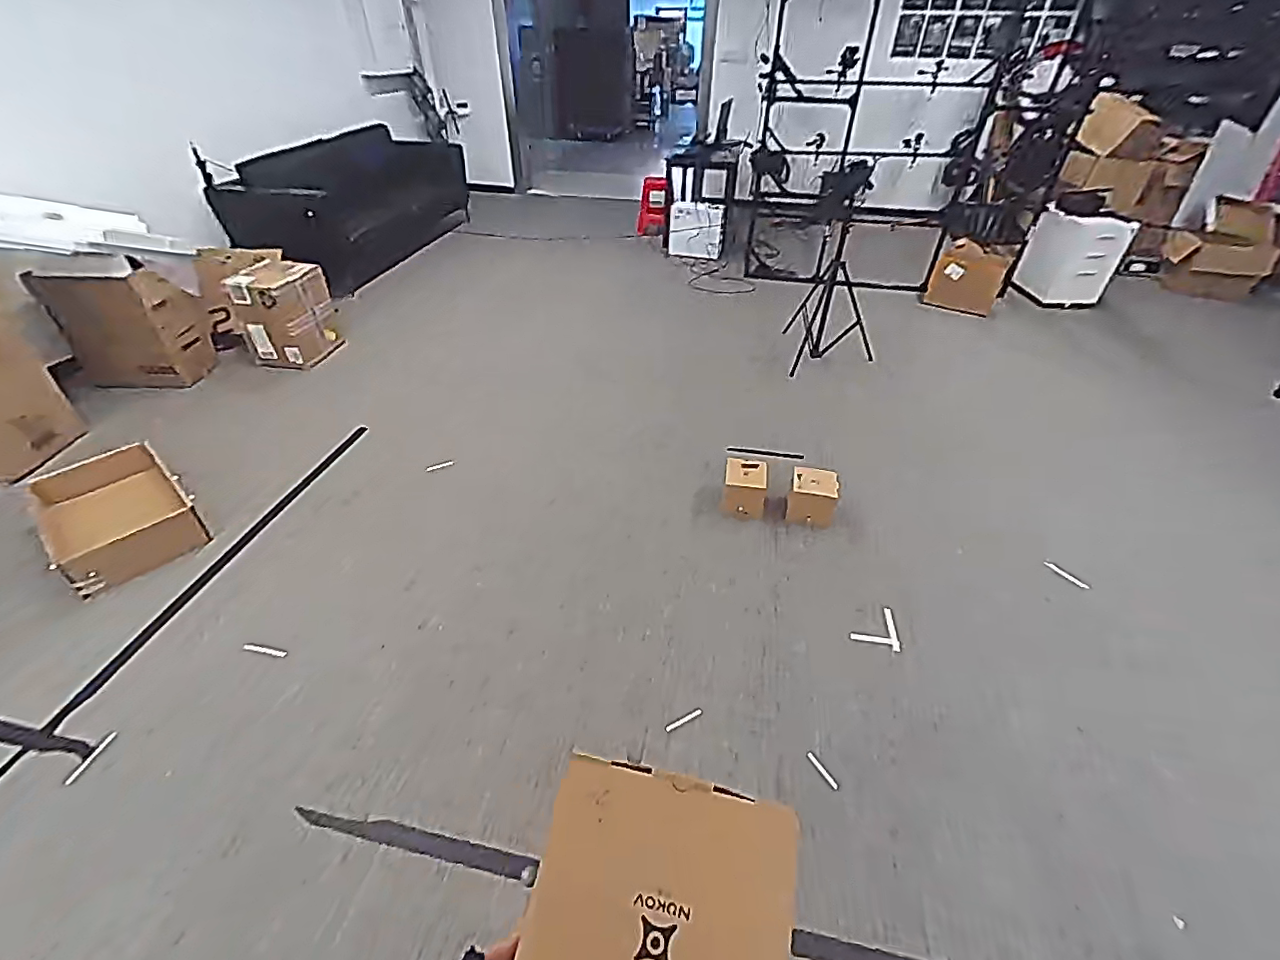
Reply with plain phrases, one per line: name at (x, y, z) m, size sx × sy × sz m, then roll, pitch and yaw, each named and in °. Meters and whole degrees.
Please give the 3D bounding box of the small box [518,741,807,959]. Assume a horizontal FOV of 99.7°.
small box at (0.012, 0.314, 0.402) m, size 0.168 × 0.176 × 0.179 m, roll 12°, pitch 61°, yaw 6°

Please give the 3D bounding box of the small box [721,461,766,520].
small box at (0.436, 0.044, 2.275) m, size 0.168 × 0.176 × 0.179 m, roll 6°, pitch 40°, yaw 8°

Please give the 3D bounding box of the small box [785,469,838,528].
small box at (0.707, 0.080, 2.238) m, size 0.179 × 0.176 × 0.168 m, roll 10°, pitch 41°, yaw 10°
